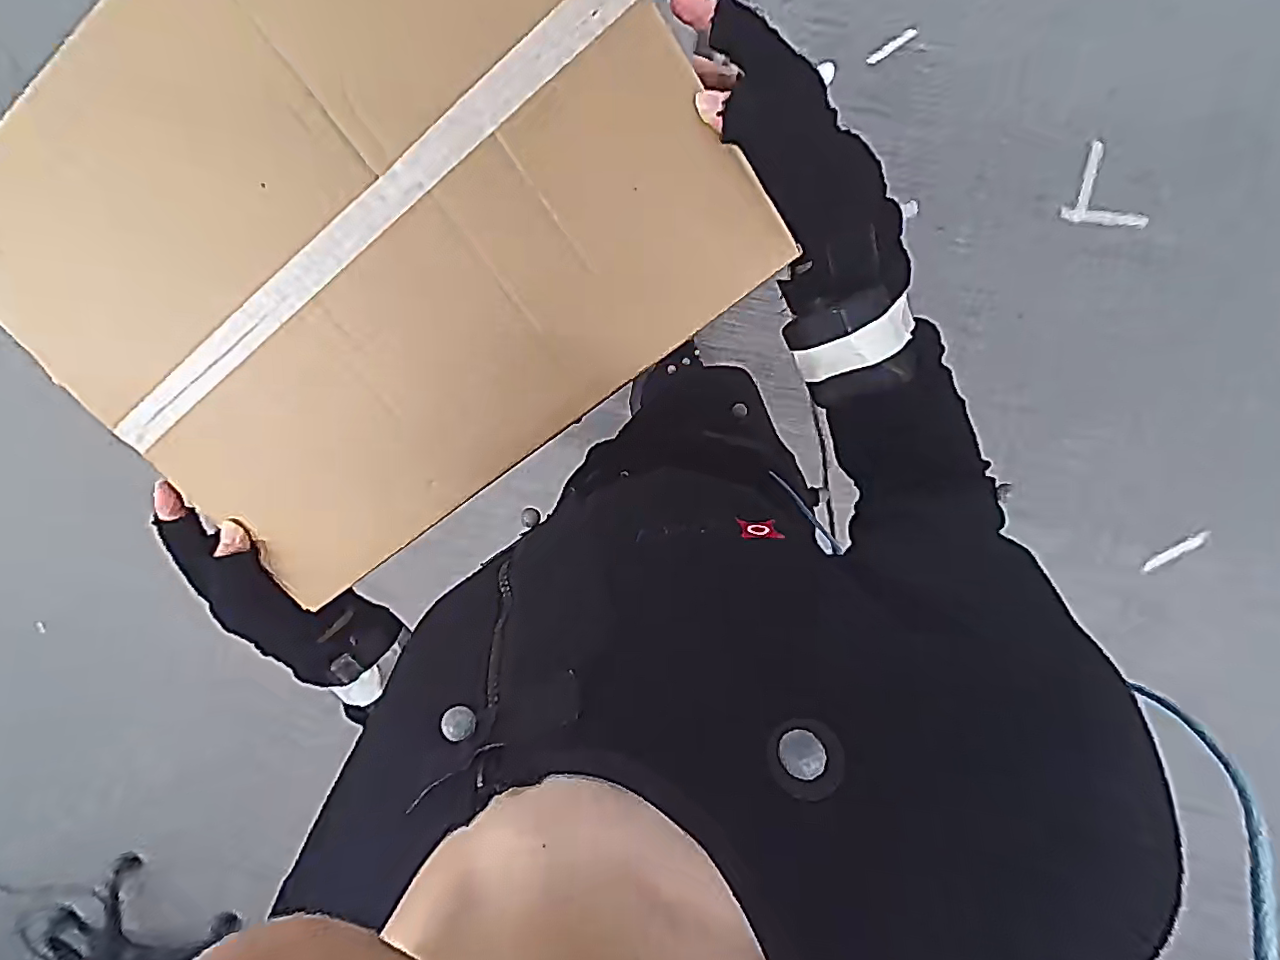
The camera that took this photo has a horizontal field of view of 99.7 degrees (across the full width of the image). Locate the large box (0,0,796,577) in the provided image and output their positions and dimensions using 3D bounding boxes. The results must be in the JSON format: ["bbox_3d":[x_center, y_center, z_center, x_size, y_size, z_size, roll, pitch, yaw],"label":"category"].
[{"bbox_3d":[-0.150,-0.197,0.460,0.408,0.320,0.320,-33,105,12],"label":"large box"}]
